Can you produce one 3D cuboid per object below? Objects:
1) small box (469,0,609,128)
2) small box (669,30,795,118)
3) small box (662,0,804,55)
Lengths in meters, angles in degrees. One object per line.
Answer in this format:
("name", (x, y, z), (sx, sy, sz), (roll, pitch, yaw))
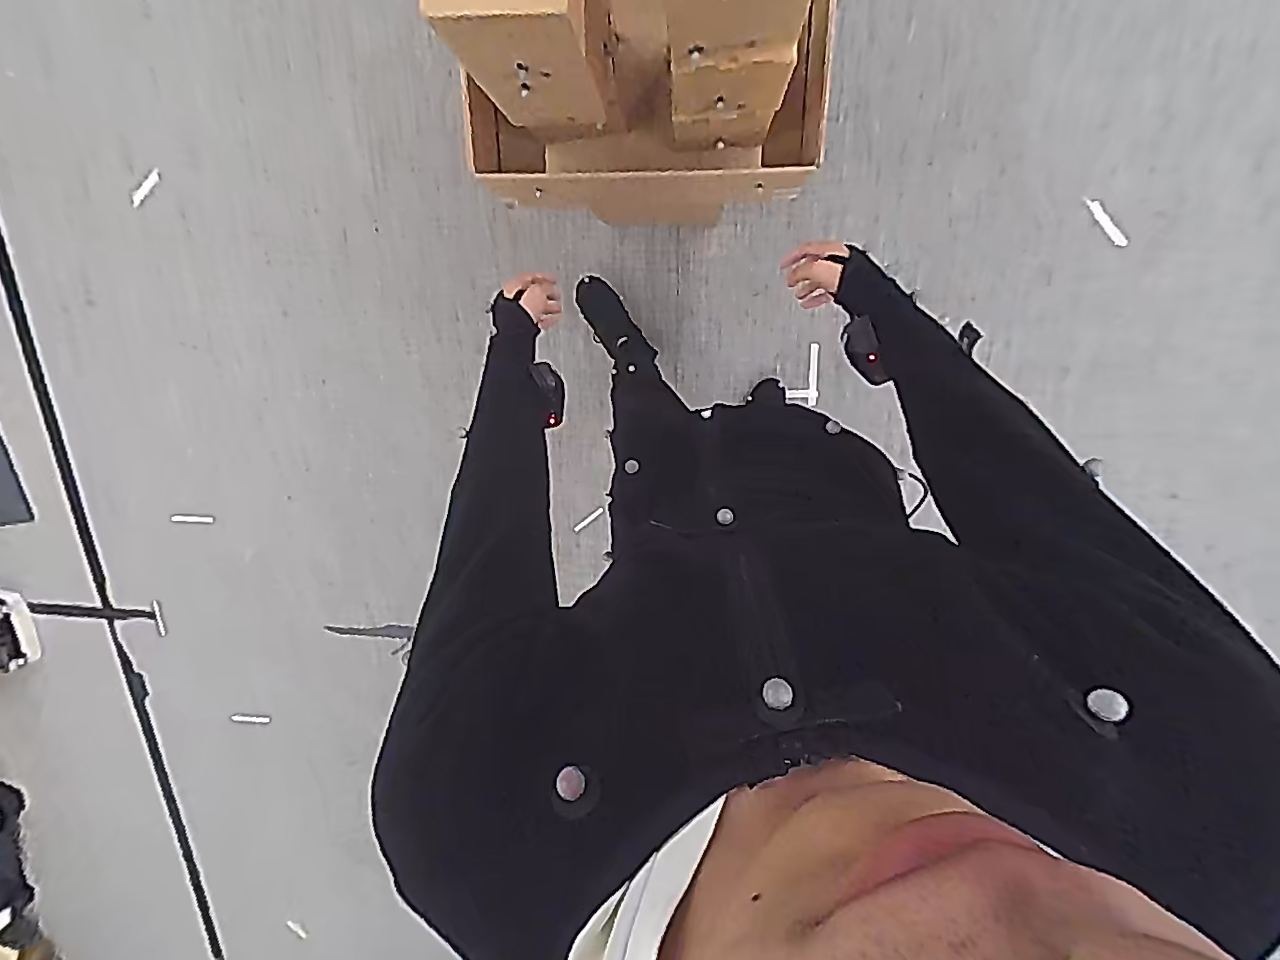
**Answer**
("small box", (-0.141, -0.651, 0.796), (0.168, 0.176, 0.179), (2, 104, 6))
("small box", (0.125, -0.651, 0.771), (0.168, 0.176, 0.179), (-1, 106, 6))
("small box", (0.103, -0.619, 0.611), (0.168, 0.176, 0.179), (-4, 105, 6))
